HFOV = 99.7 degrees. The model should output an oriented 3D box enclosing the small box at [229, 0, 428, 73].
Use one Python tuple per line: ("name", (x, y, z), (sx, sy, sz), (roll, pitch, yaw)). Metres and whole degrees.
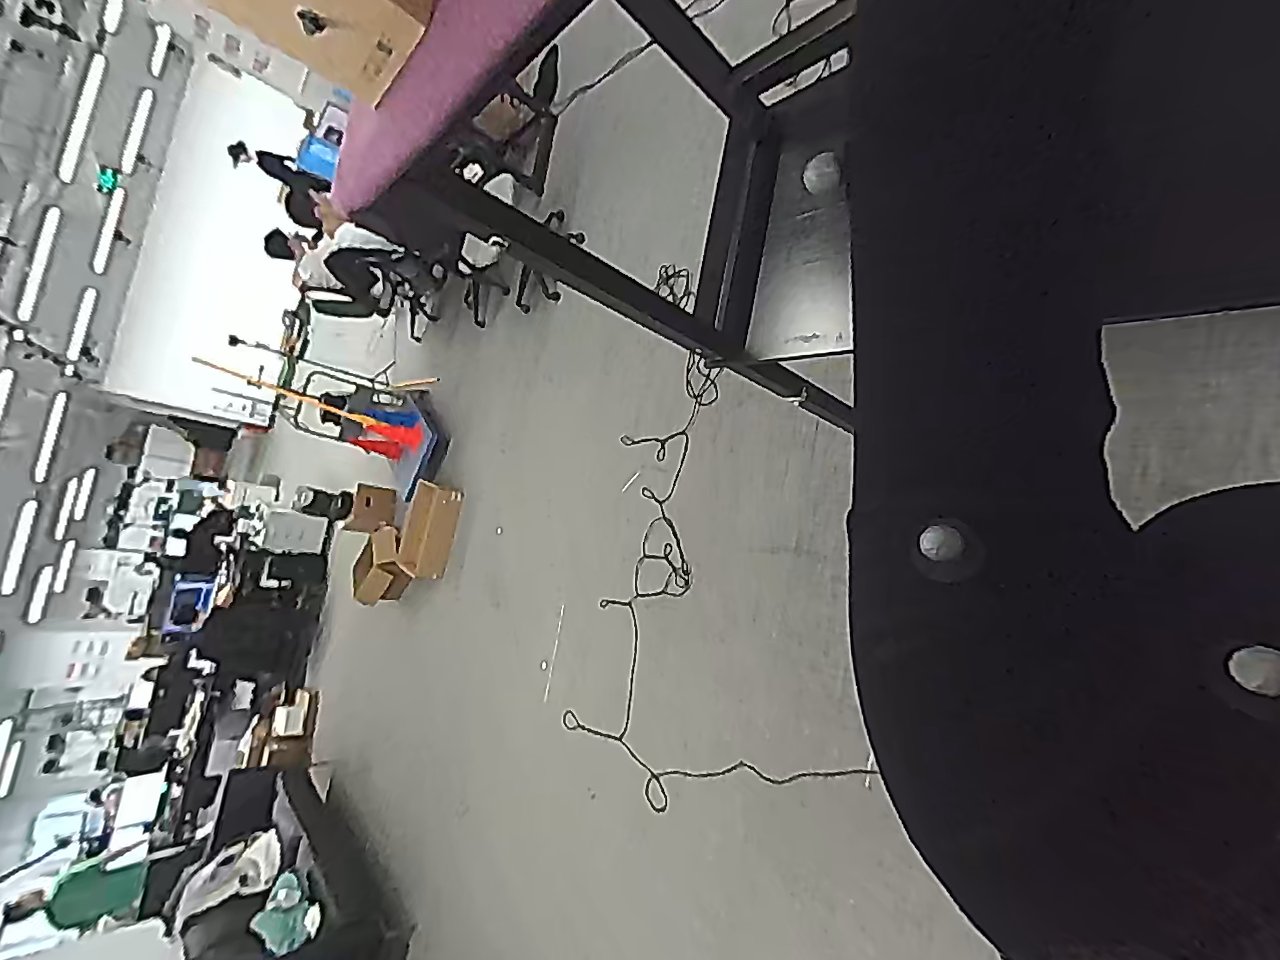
("small box", (-0.288, -0.530, 0.502), (0.168, 0.176, 0.179), (4, 82, 46))
